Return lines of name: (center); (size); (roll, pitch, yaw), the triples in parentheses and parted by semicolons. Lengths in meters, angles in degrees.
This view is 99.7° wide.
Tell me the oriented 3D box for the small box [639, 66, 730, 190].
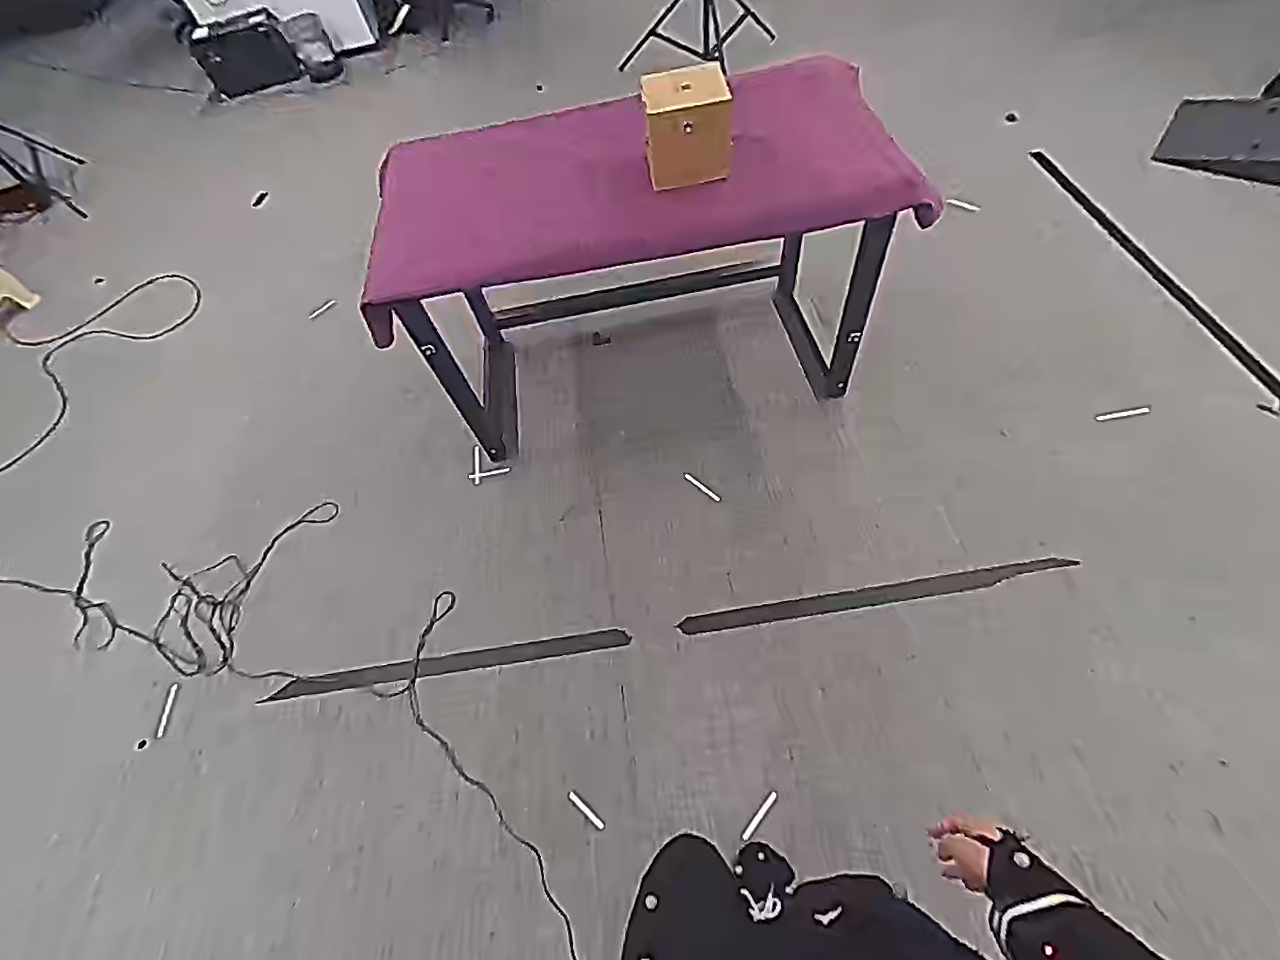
small box: (0.100, -0.776, 1.205); (0.179, 0.176, 0.168); (-8, 59, 3)
